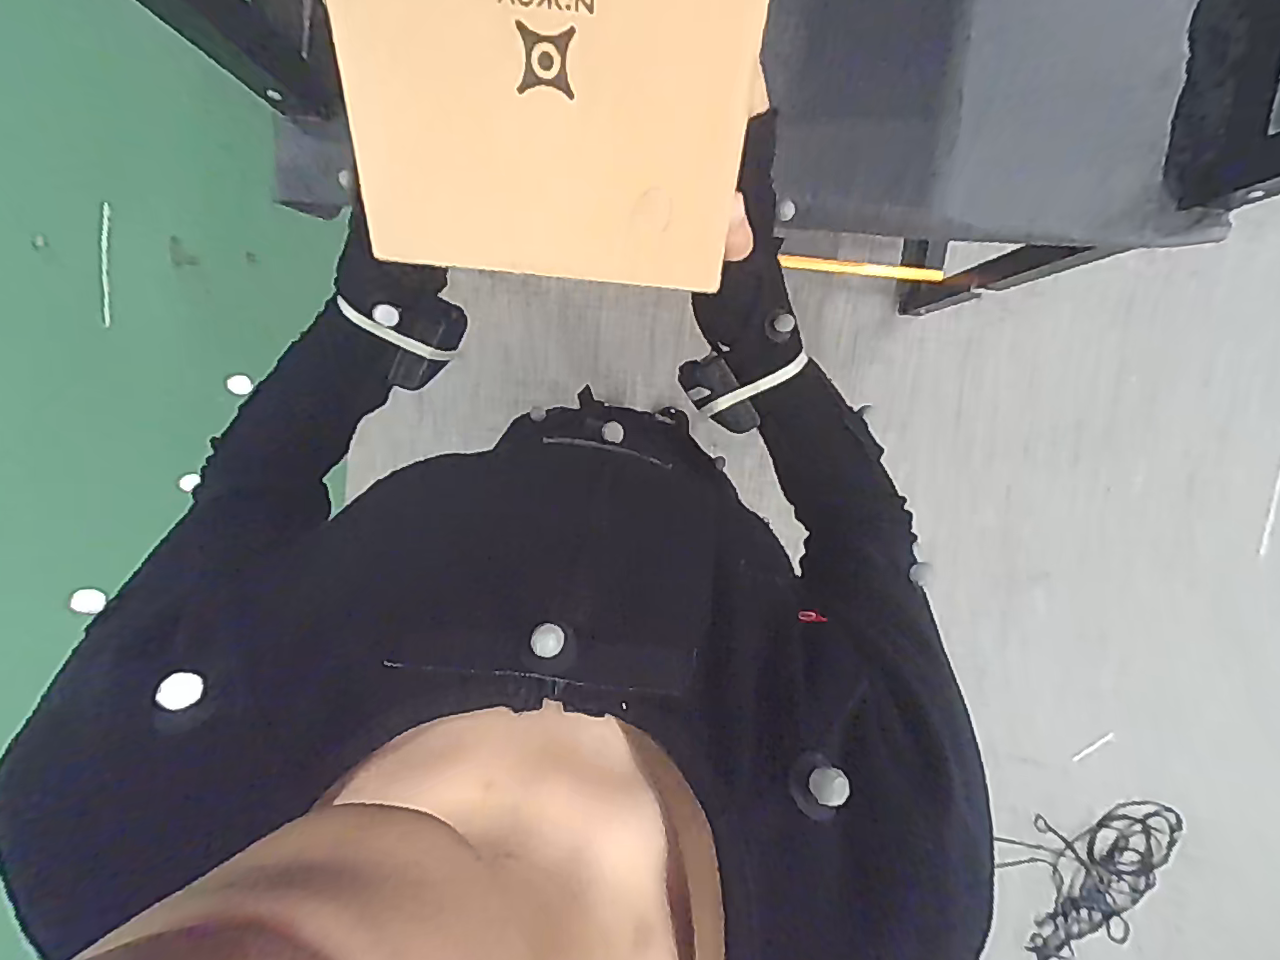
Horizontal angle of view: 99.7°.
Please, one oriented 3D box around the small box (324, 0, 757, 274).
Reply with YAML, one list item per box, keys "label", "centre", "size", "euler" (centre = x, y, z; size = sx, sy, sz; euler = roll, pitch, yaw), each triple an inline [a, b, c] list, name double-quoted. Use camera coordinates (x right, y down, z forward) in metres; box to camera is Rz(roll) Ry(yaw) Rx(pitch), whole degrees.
- label: "small box"
  centre: [-0.035, -0.222, 0.270]
  size: [0.168, 0.176, 0.179]
  euler: [5, 125, -2]
